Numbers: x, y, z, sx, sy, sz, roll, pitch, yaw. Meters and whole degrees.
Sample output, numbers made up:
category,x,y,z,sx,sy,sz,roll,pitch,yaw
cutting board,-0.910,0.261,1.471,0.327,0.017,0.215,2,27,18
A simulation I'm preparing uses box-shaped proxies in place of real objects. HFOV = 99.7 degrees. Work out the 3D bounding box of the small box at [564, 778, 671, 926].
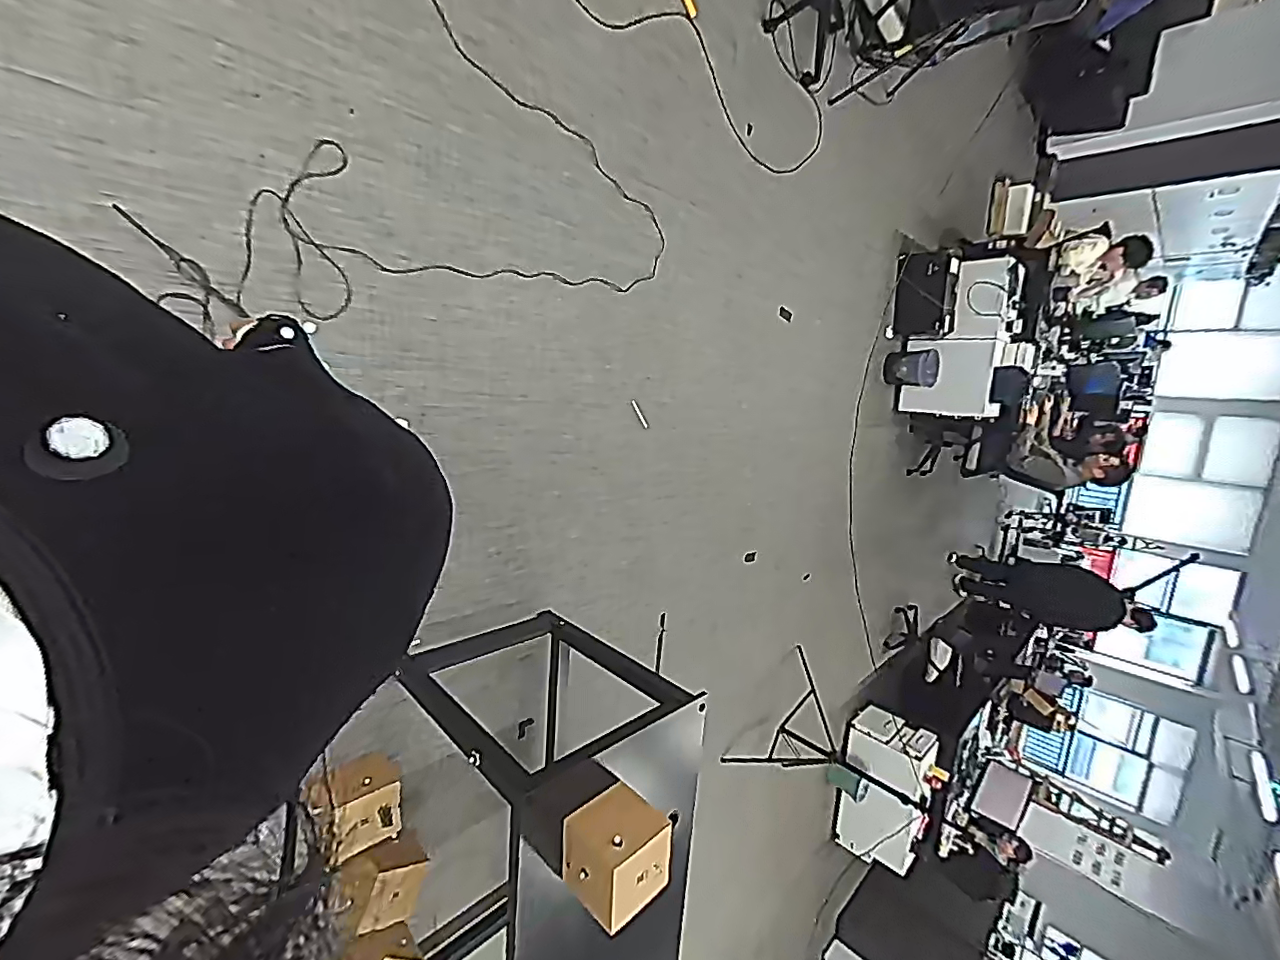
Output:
category,x,y,z,sx,sy,sz,roll,pitch,yaw
small box,-0.054,0.814,1.204,0.179,0.176,0.168,-10,107,-45

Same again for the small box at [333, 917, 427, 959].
category,x,y,z,sx,sy,sz,roll,pitch,yaw
small box,-0.805,1.481,1.664,0.168,0.176,0.179,-55,133,-21

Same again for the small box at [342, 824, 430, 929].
category,x,y,z,sx,sy,sz,roll,pitch,yaw
small box,-0.770,1.182,1.628,0.168,0.176,0.179,24,82,-47

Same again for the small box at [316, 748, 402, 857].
category,x,y,z,sx,sy,sz,roll,pitch,yaw
small box,-0.795,0.899,1.529,0.179,0.176,0.168,-7,105,-43
